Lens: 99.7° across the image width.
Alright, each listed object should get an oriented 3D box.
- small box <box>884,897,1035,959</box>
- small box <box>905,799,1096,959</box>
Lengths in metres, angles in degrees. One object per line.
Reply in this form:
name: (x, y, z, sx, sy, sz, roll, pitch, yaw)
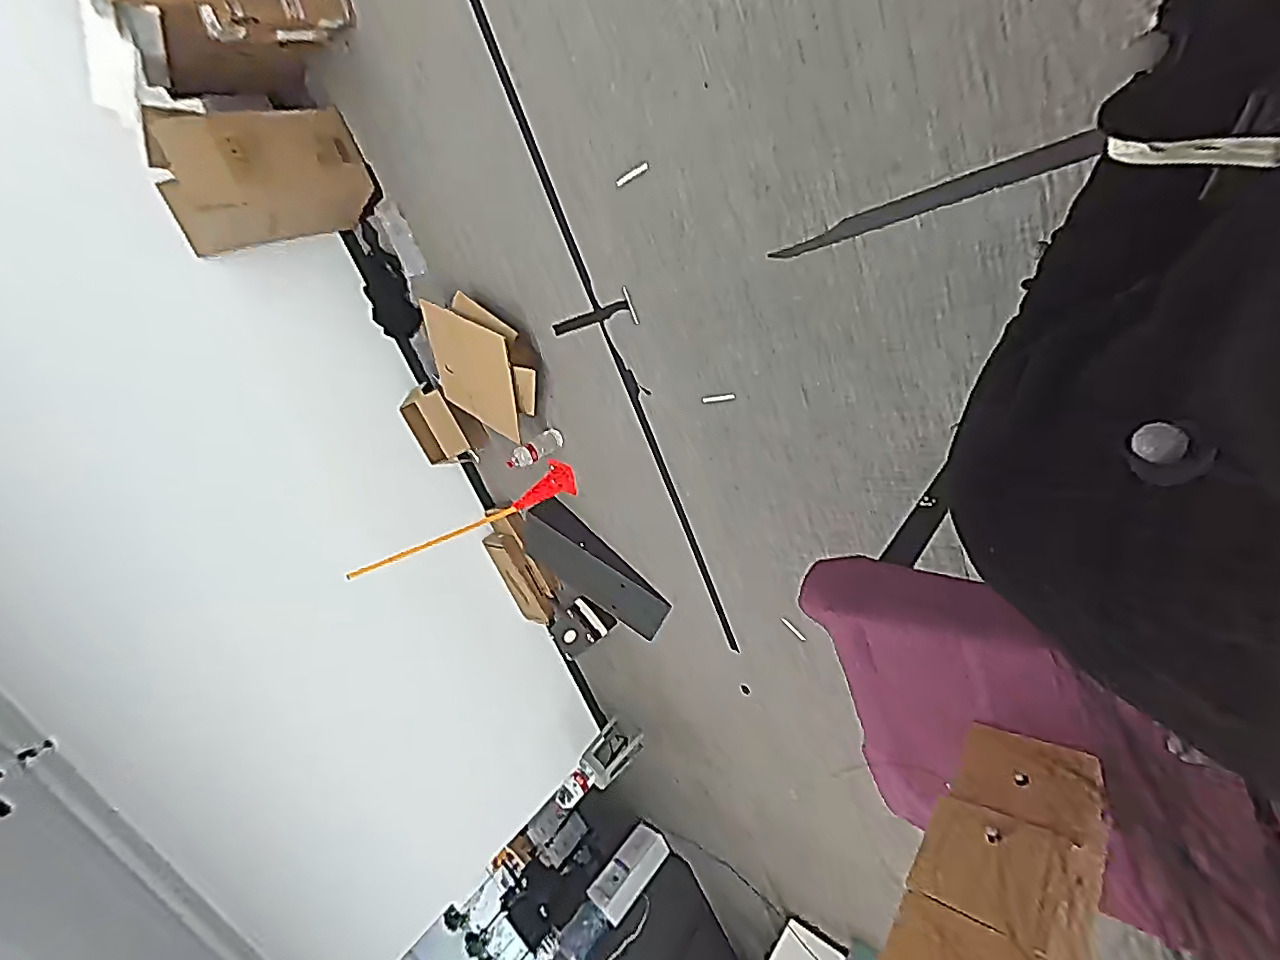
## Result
small box: (0.420, 0.695, 0.693, 0.179, 0.176, 0.168, -6, 114, 50)
small box: (0.524, 0.609, 0.785, 0.179, 0.176, 0.168, -6, 115, 51)
